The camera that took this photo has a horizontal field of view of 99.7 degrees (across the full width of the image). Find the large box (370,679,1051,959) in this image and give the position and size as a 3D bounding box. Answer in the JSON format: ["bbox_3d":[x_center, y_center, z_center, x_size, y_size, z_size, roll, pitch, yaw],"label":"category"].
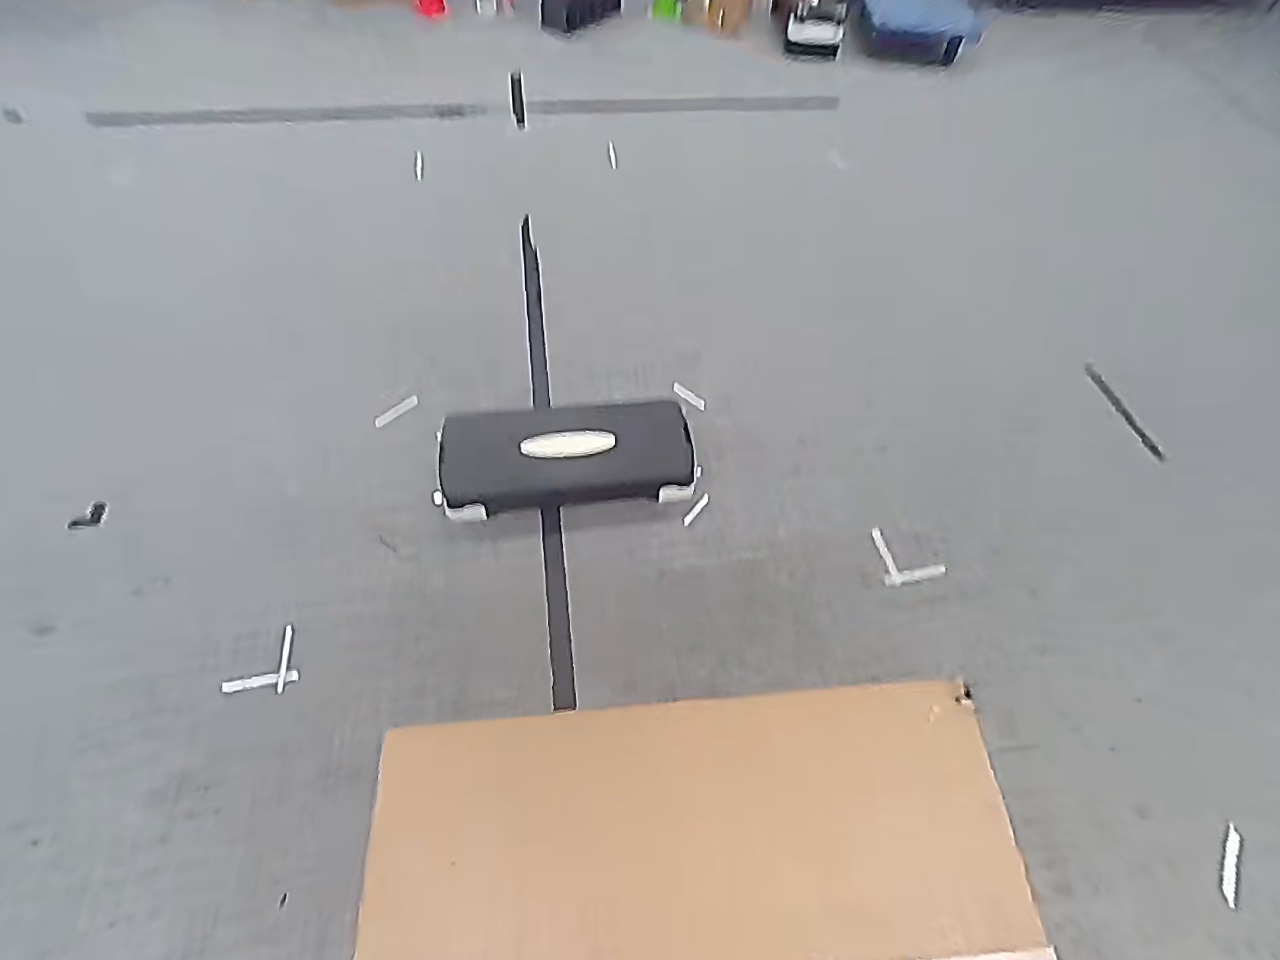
[{"bbox_3d":[0.044,0.362,0.440,0.408,0.320,0.320,-6,65,0],"label":"large box"}]
